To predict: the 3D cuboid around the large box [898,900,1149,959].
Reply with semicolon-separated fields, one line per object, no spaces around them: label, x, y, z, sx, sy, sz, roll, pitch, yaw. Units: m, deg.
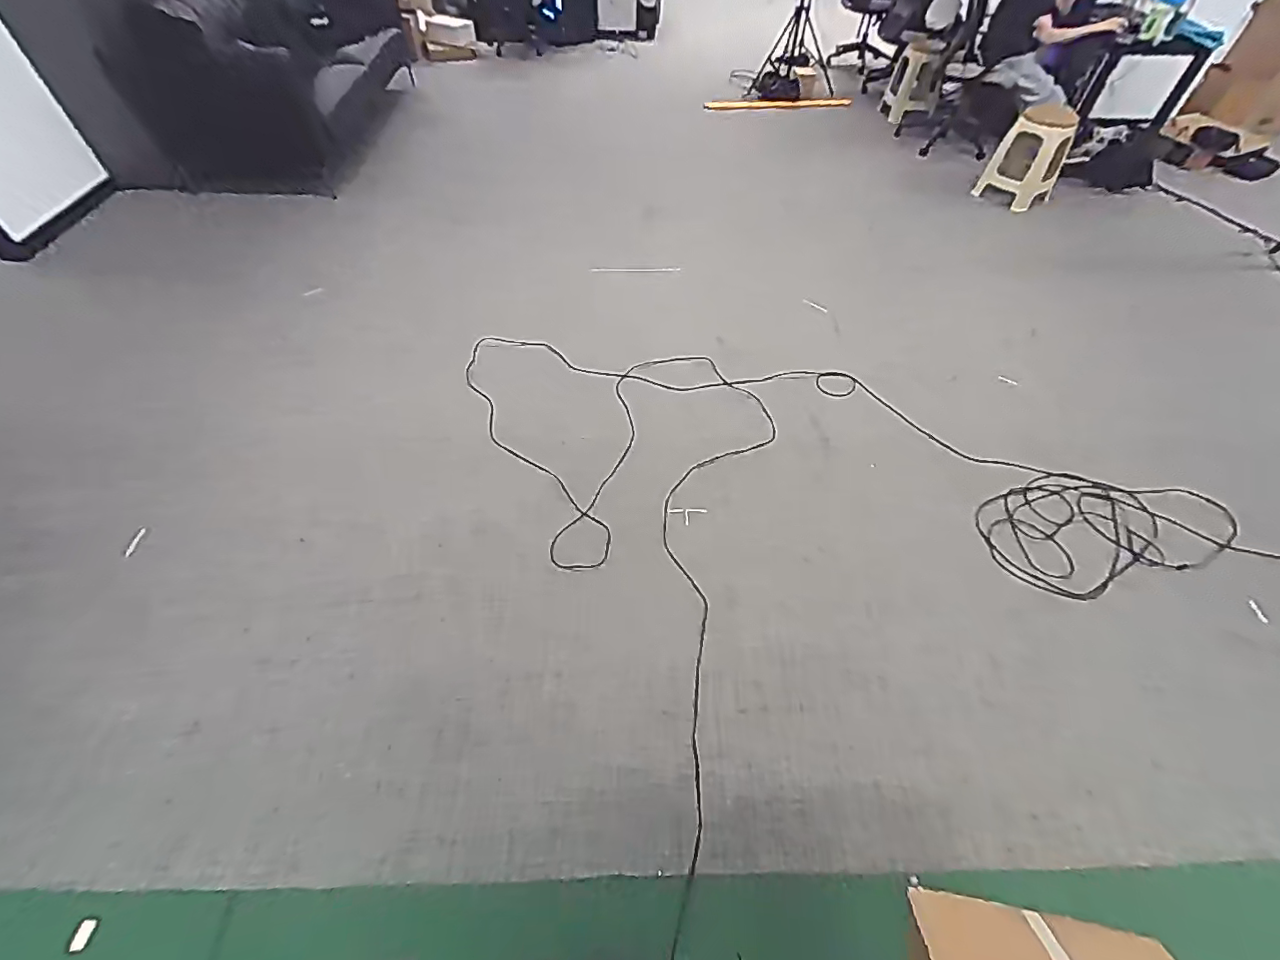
large box;0.475;0.763;0.559;0.320;0.408;0.320;5;89;13
